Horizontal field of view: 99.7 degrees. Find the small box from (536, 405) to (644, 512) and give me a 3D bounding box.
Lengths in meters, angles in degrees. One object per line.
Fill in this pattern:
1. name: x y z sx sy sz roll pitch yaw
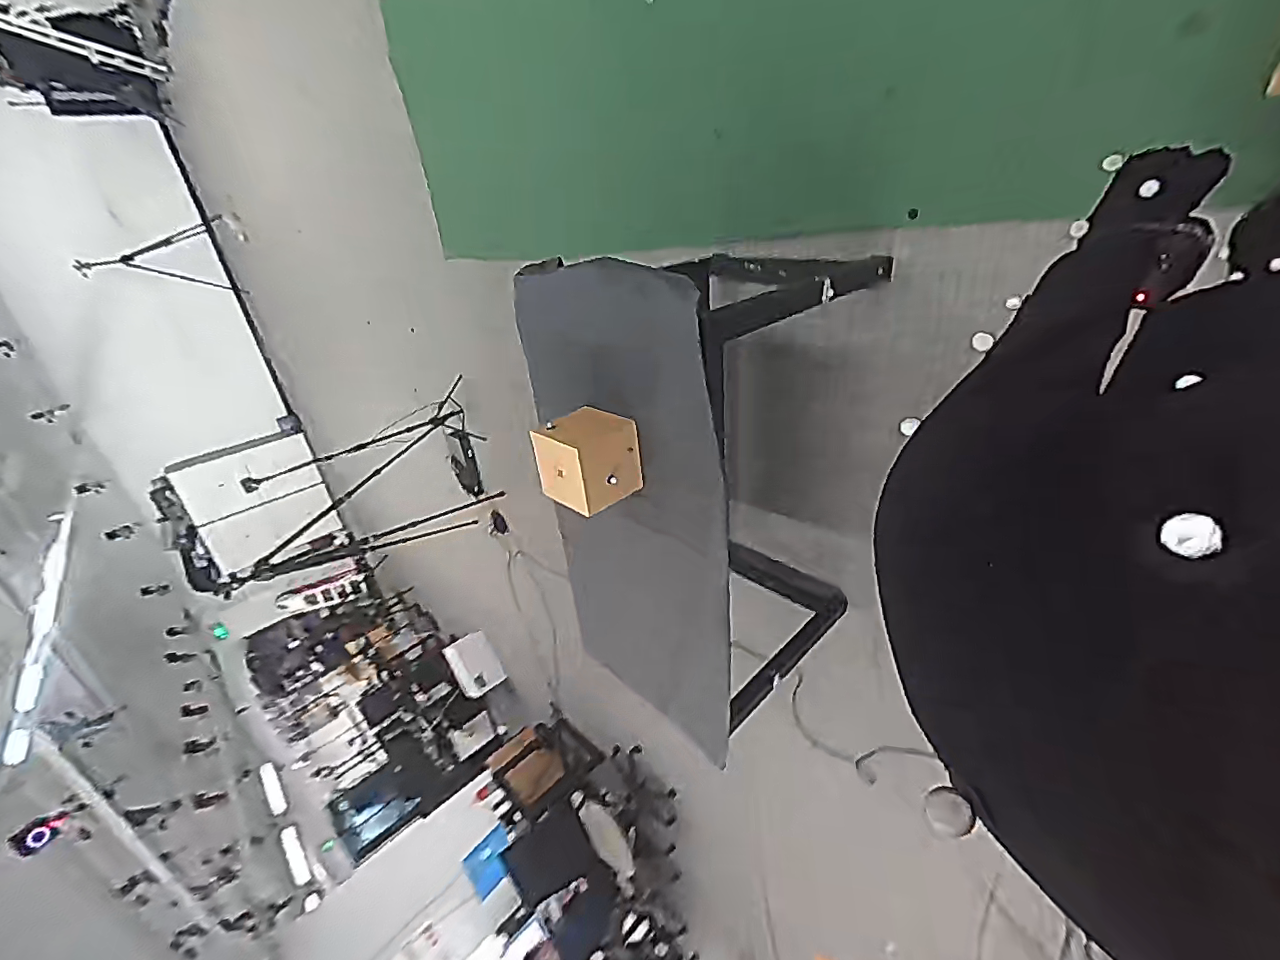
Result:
1. small box: -0.103 -0.056 1.216 0.179 0.176 0.168 22 130 43
